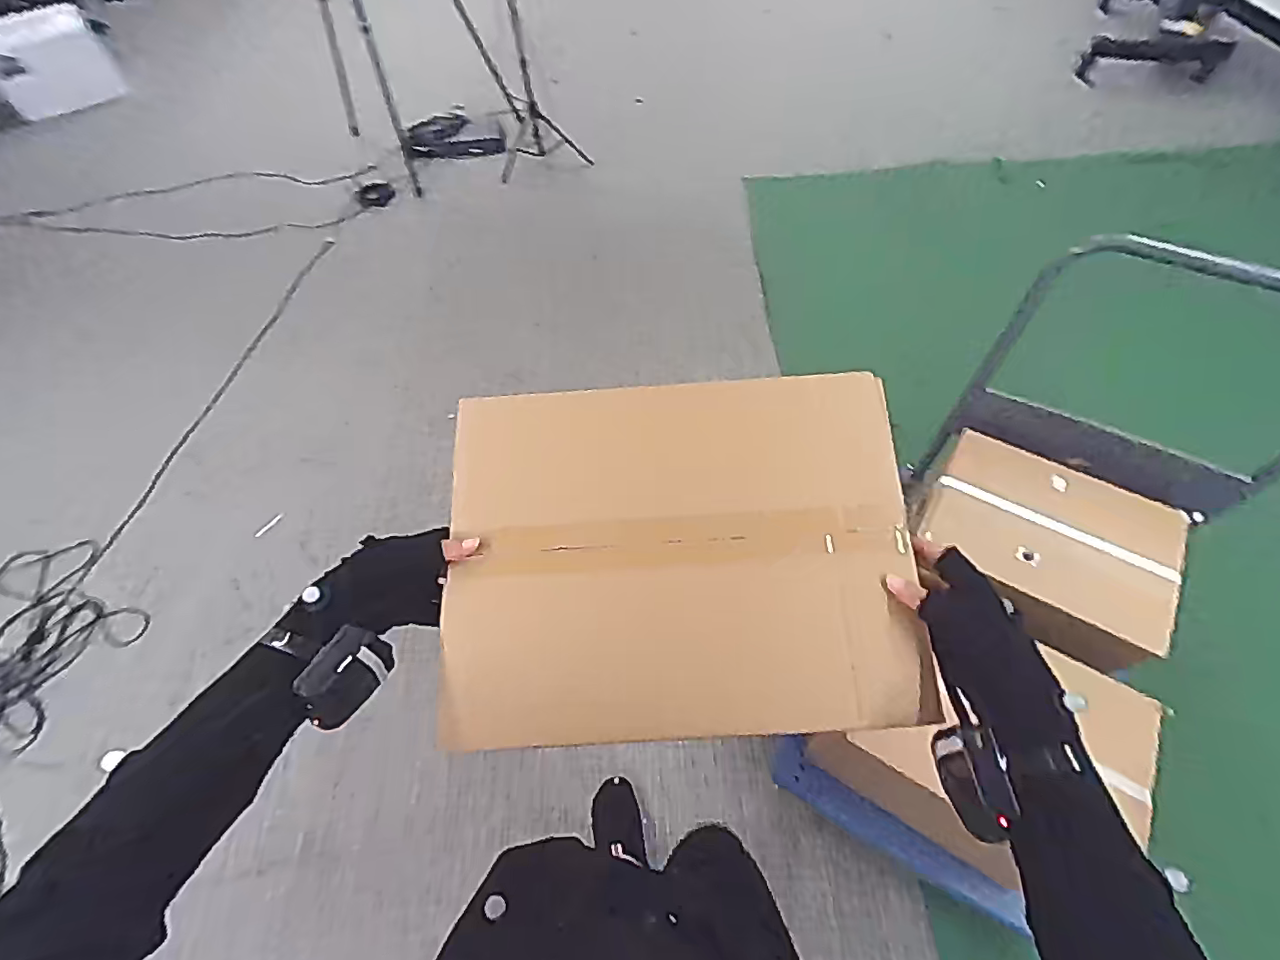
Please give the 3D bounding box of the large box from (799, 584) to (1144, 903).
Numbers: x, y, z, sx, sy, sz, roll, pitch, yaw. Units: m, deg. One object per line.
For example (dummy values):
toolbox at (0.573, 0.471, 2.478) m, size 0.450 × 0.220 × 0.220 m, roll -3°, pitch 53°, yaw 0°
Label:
large box at (0.561, 0.461, 0.979) m, size 0.408 × 0.320 × 0.320 m, roll 28°, pitch 62°, yaw 18°
